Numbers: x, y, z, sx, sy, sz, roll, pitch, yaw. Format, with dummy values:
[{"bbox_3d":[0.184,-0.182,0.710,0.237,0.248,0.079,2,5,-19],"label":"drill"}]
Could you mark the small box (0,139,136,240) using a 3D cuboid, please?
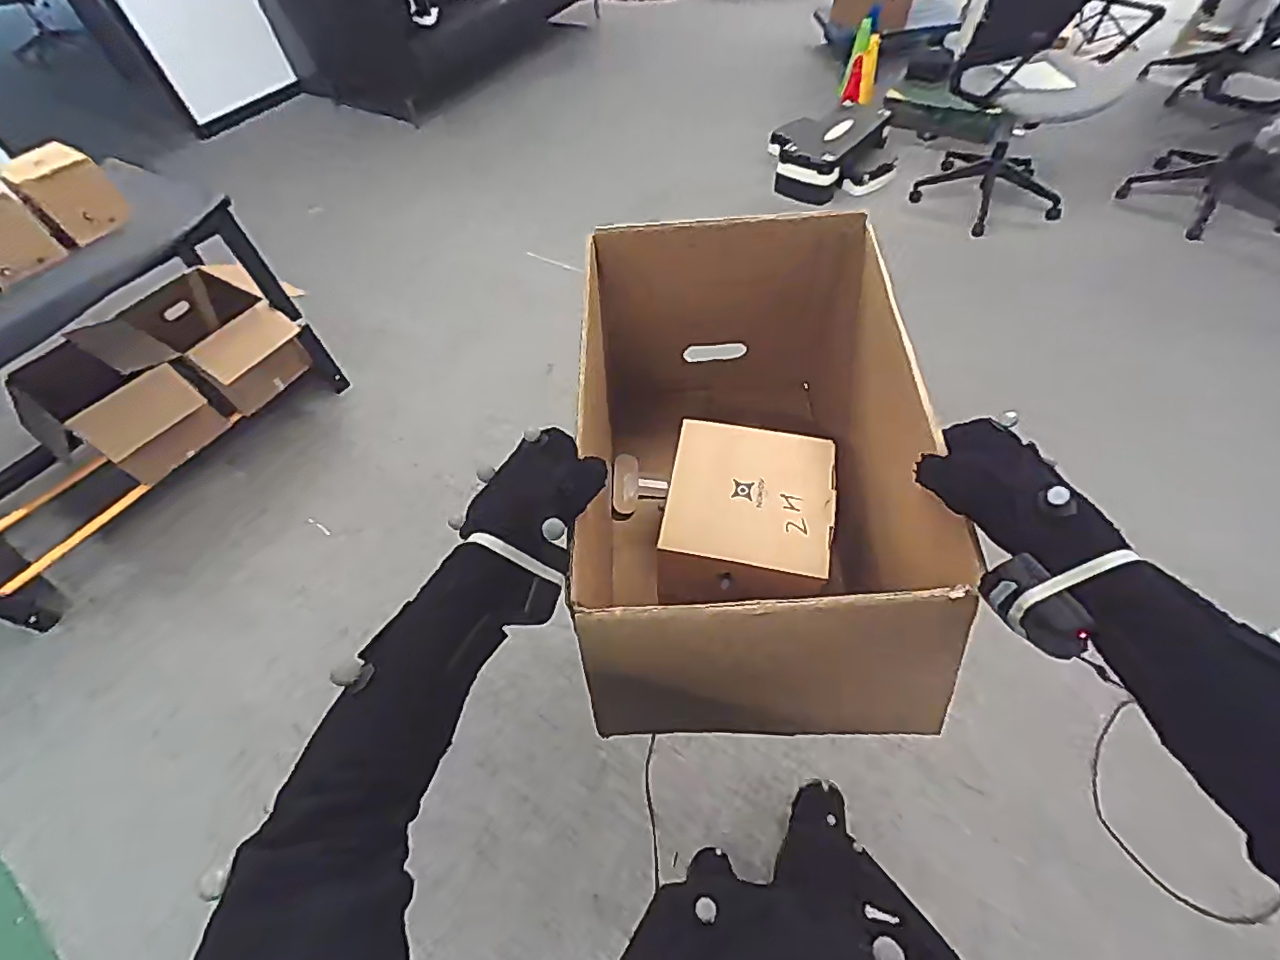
[{"bbox_3d":[-1.517,-0.767,1.435,0.179,0.176,0.168,27,61,20],"label":"small box"}]
